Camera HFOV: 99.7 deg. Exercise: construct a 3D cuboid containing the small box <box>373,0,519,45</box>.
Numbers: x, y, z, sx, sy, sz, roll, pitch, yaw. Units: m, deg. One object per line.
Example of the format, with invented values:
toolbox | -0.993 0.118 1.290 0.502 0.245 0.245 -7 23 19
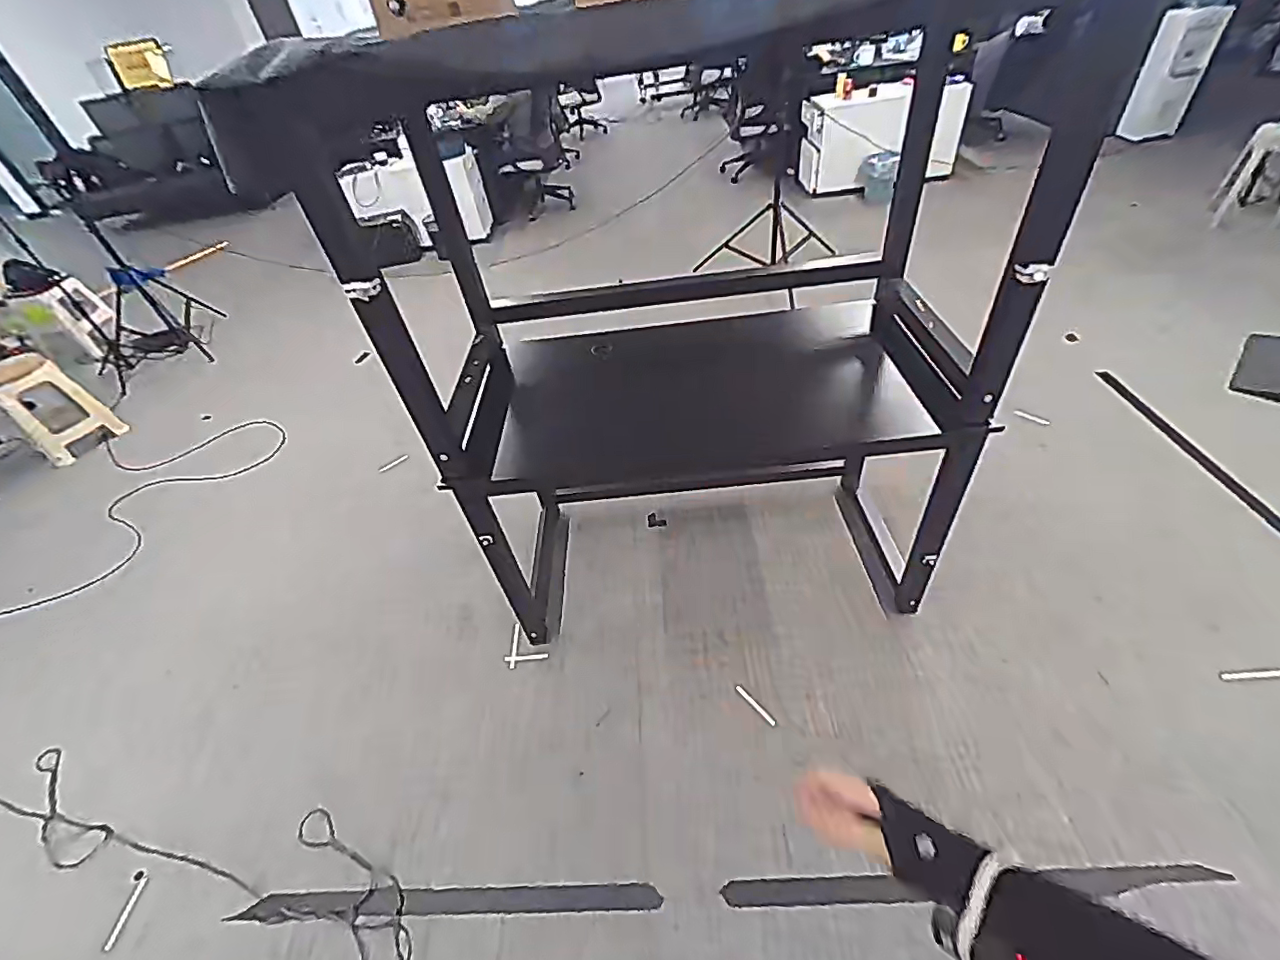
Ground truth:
small box | -0.265 -0.689 0.710 0.168 0.176 0.179 -7 41 1
